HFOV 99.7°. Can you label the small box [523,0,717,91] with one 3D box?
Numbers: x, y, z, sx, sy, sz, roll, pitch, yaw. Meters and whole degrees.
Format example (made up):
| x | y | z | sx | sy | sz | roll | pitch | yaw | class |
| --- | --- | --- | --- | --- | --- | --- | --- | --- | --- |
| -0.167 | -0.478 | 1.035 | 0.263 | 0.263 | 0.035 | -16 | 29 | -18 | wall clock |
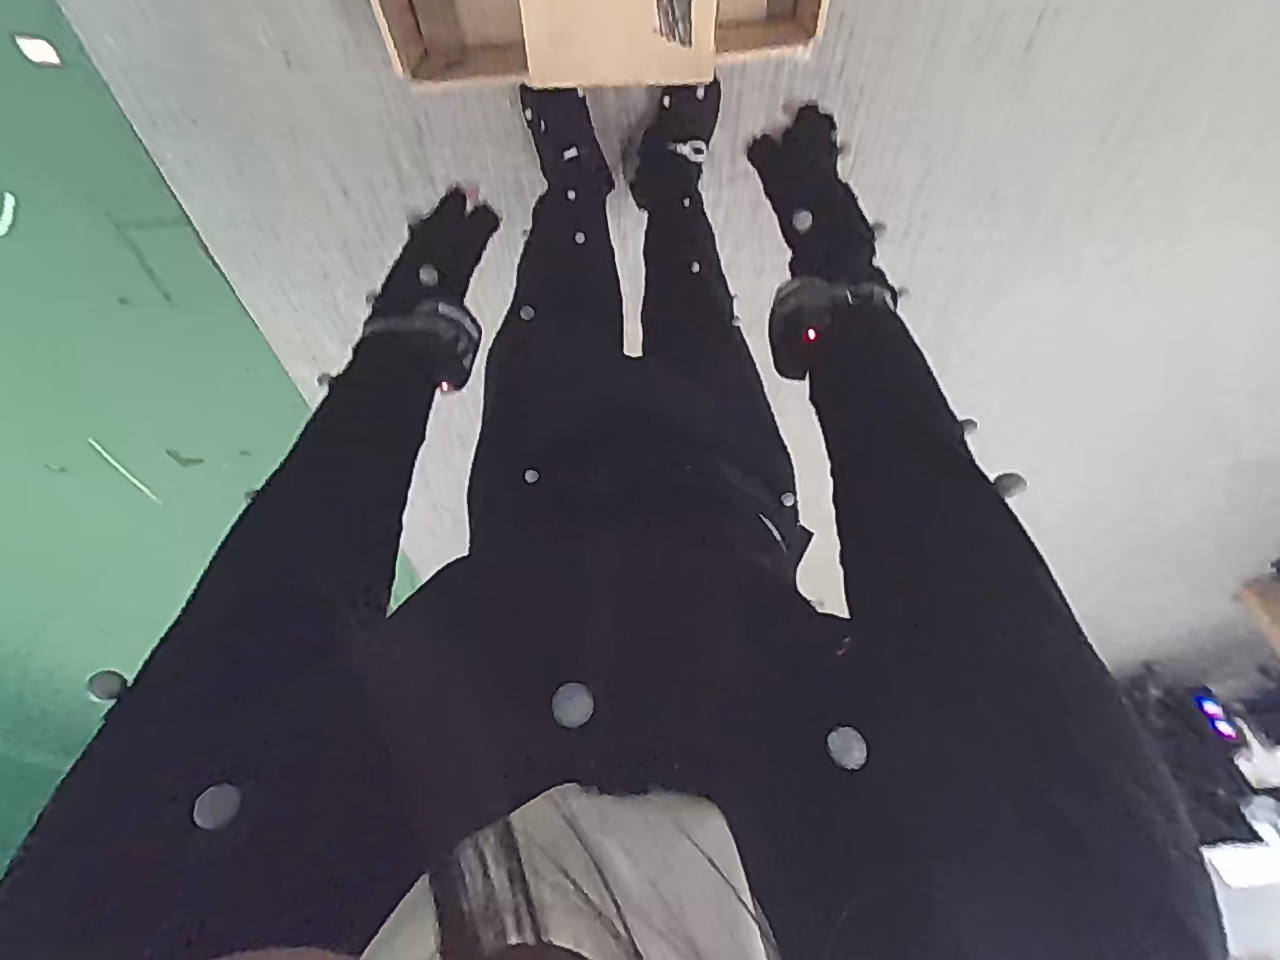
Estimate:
| x | y | z | sx | sy | sz | roll | pitch | yaw | class |
| --- | --- | --- | --- | --- | --- | --- | --- | --- | --- |
| -0.023 | -0.497 | 0.522 | 0.179 | 0.176 | 0.168 | -2 | 138 | -3 | small box |
